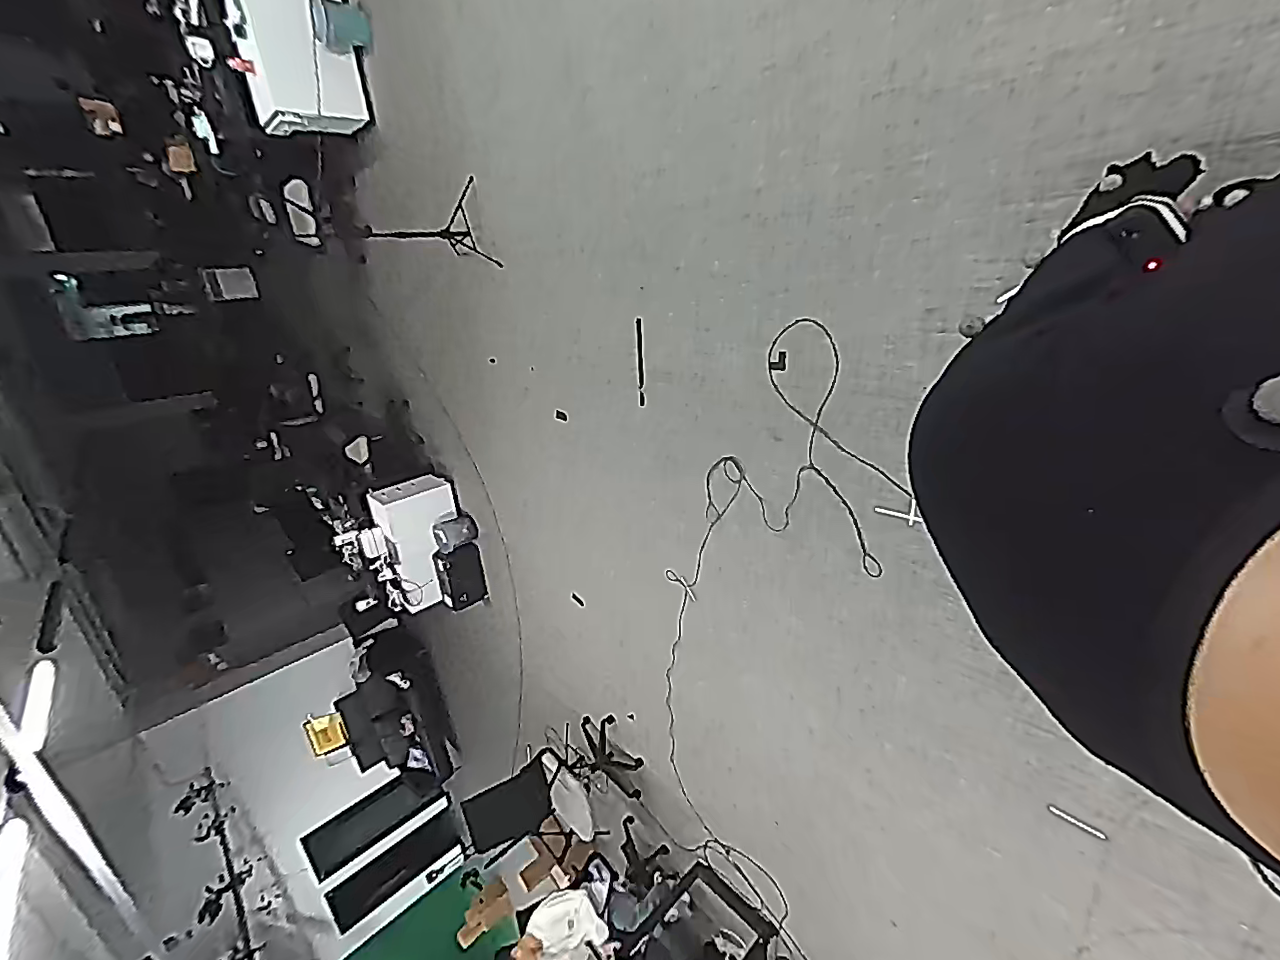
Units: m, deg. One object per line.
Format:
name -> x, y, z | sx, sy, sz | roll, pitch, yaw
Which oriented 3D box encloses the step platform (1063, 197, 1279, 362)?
step platform -> 1.206, -0.369, 0.985 | 0.684, 0.204, 0.286 | 16, 120, 43
